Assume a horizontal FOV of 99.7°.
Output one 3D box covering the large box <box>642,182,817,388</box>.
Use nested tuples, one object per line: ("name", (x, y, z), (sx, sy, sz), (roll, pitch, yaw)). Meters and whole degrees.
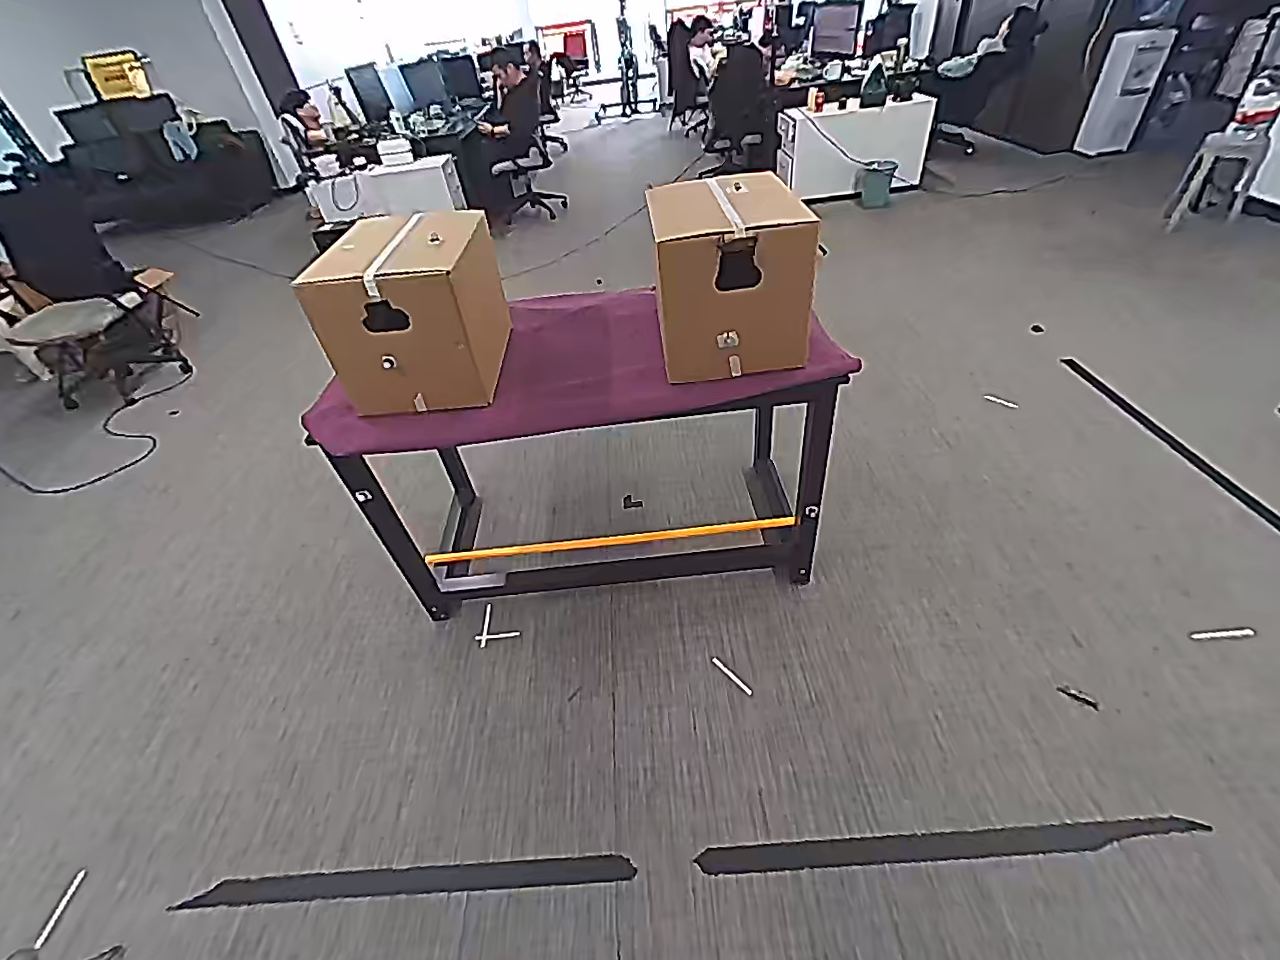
("large box", (0.187, -0.461, 1.257), (0.320, 0.320, 0.408), (-7, 40, 1))
